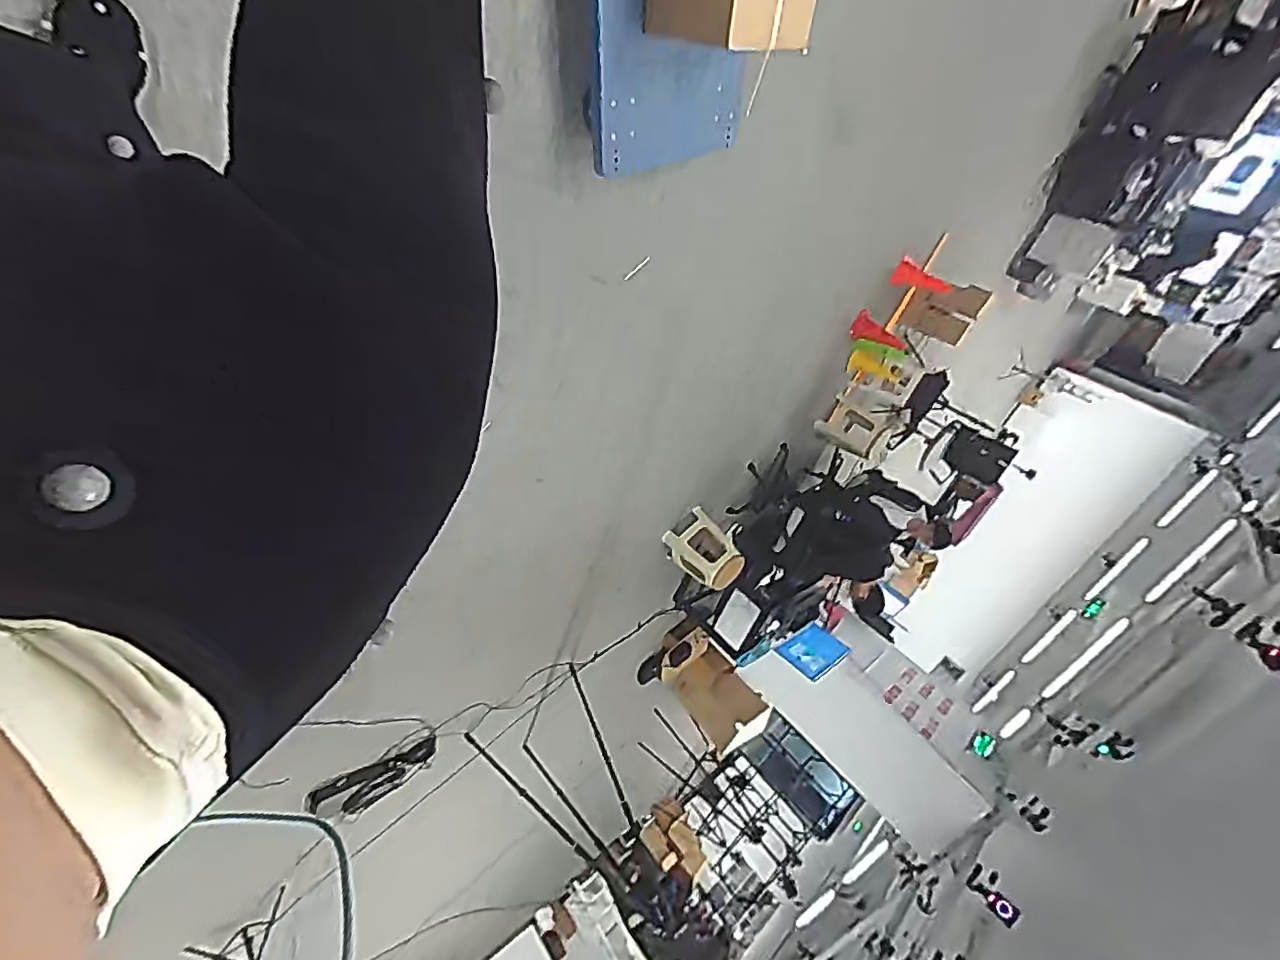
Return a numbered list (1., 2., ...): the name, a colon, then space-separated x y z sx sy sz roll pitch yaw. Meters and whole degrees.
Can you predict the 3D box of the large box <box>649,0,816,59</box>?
1. large box: 0.241 -1.303 1.312 0.320 0.320 0.408 -28 143 -30
